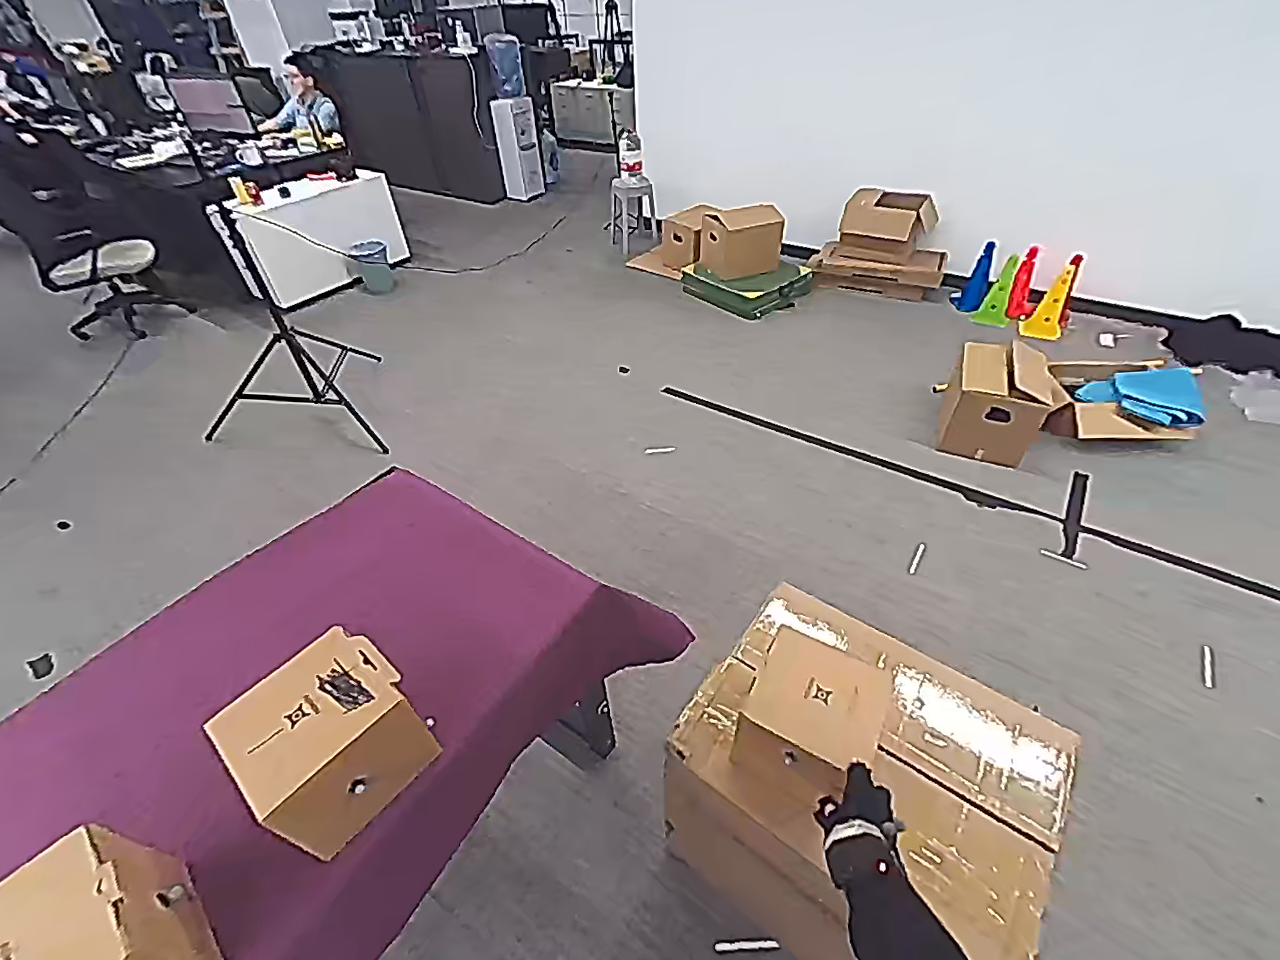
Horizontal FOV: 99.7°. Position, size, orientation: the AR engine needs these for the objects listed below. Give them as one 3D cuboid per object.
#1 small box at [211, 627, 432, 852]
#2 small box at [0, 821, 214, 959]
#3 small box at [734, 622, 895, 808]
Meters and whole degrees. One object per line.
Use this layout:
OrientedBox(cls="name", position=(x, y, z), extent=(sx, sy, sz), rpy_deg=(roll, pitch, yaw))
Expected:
OrientedBox(cls="small box", position=(-0.399, 0.338, 0.712), extent=(0.168, 0.176, 0.179), rpy_deg=(28, 52, 30))
OrientedBox(cls="small box", position=(-0.576, 0.500, 0.544), extent=(0.168, 0.176, 0.179), rpy_deg=(29, 51, 31))
OrientedBox(cls="small box", position=(0.252, 0.354, 0.812), extent=(0.179, 0.176, 0.168), rpy_deg=(21, 49, 23))
